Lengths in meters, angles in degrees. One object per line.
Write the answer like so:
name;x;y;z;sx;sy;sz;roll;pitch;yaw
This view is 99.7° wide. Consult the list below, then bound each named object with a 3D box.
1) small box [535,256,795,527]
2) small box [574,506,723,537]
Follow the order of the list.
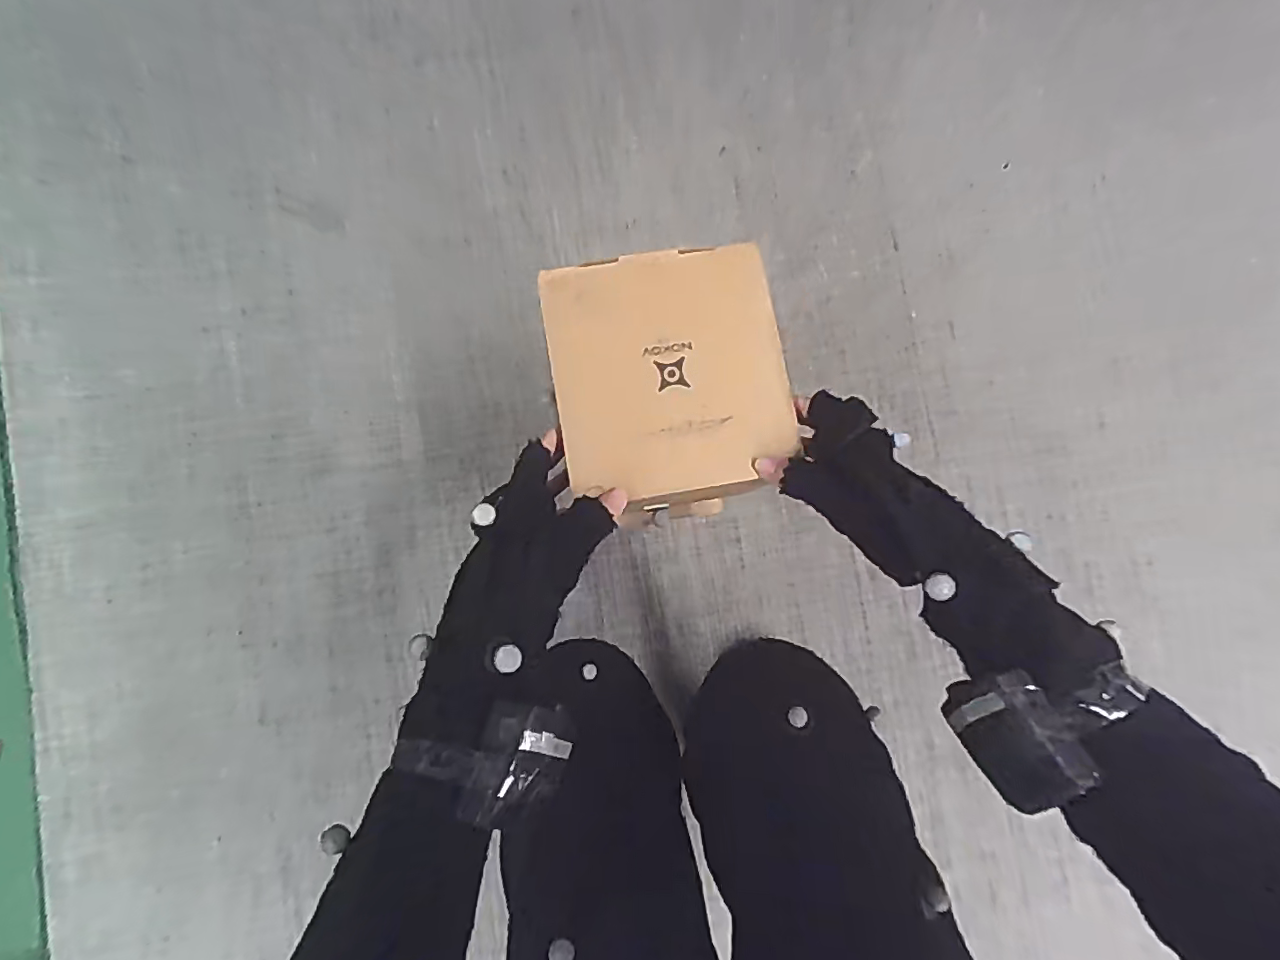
small box;0.012;-0.060;0.465;0.168;0.176;0.179;-10;84;-3
small box;0.001;-0.019;0.712;0.179;0.176;0.168;-7;86;0
